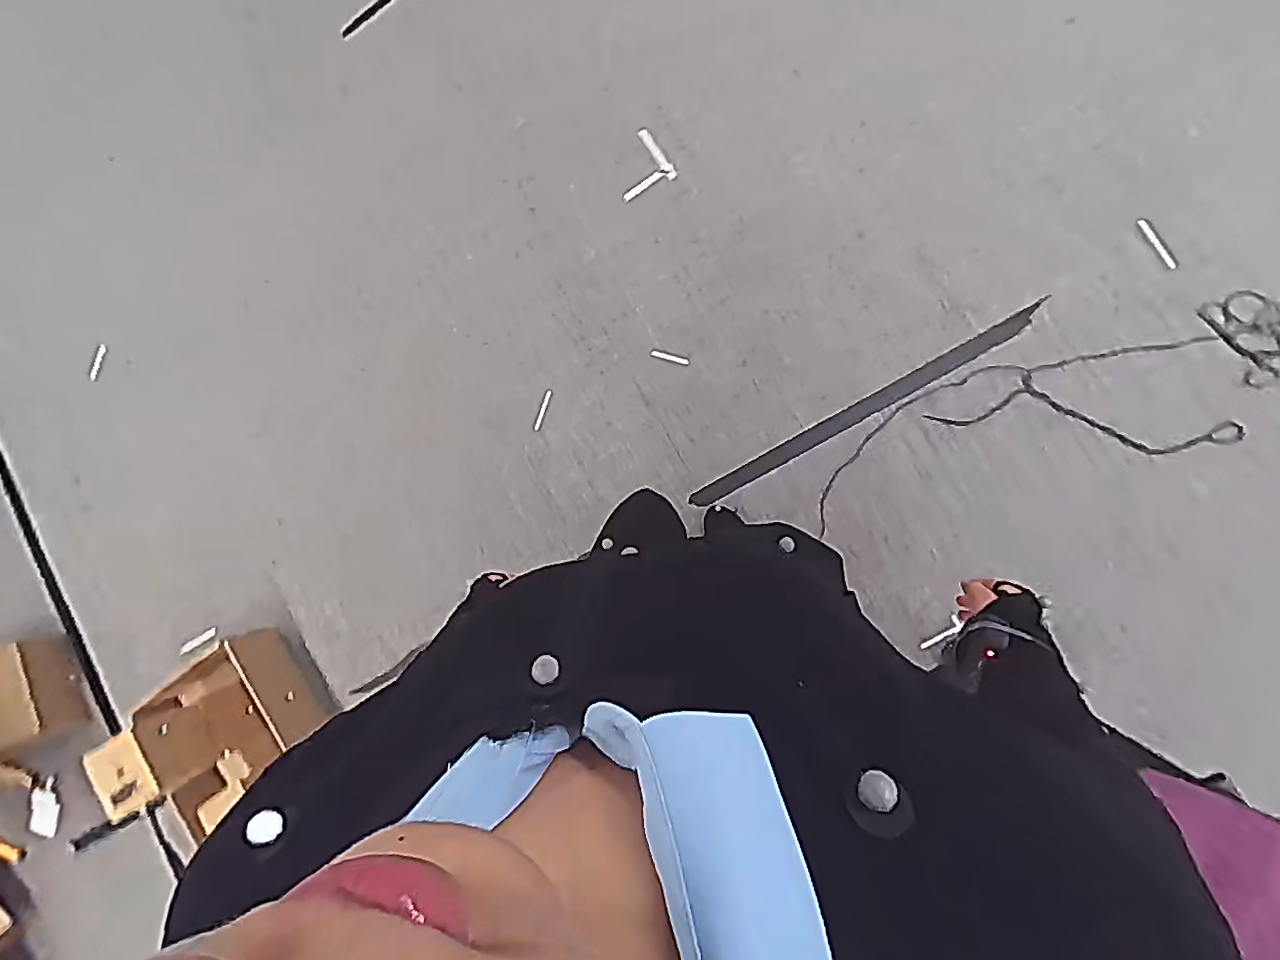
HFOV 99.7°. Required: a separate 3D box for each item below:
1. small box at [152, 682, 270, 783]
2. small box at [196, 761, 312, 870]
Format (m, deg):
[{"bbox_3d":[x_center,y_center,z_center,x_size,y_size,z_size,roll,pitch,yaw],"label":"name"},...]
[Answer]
[{"bbox_3d":[-1.227,0.718,1.557,0.179,0.176,0.168,-35,85,6],"label":"small box"},{"bbox_3d":[-1.080,0.930,1.525,0.168,0.176,0.179,-37,82,7],"label":"small box"}]
